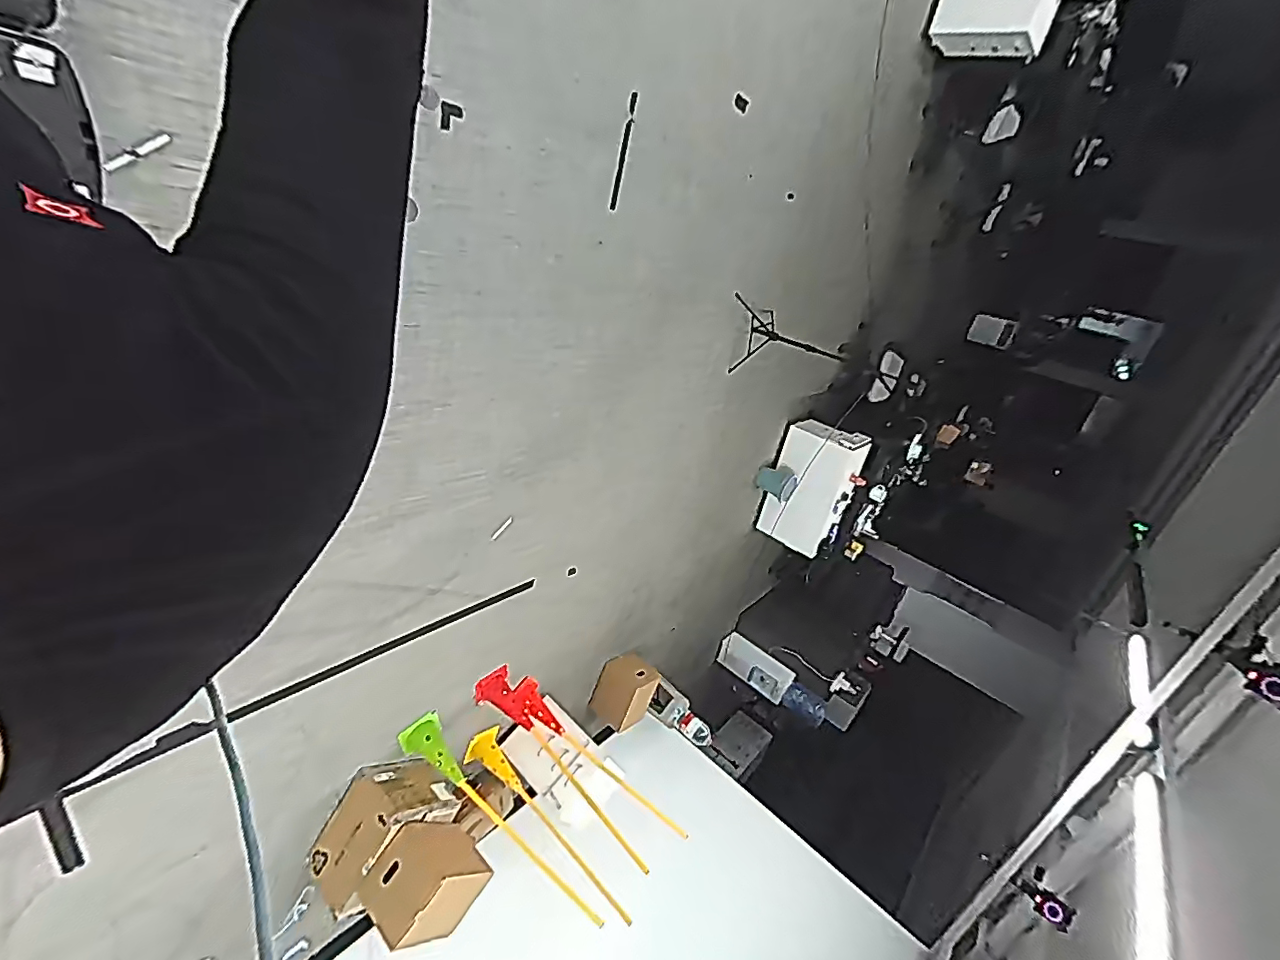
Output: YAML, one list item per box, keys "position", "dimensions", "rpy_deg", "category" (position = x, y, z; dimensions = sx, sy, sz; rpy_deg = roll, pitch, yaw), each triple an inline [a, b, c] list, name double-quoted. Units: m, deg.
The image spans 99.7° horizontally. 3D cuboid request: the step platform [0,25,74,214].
- position: [-1.287, -0.573, 0.755]
  dimensions: [0.684, 0.204, 0.286]
  rpy_deg: [-18, 129, -46]
  category: "step platform"
